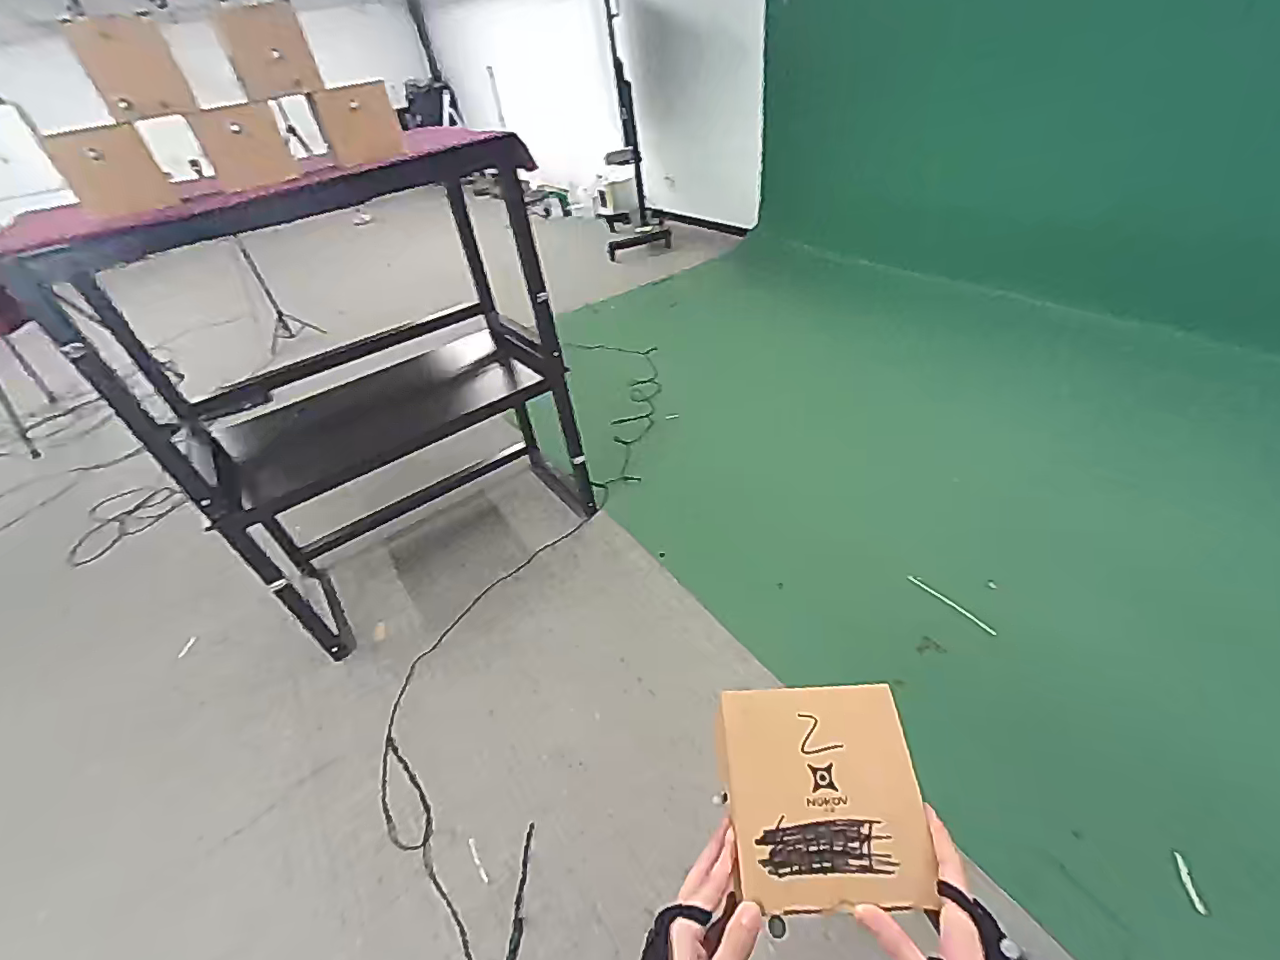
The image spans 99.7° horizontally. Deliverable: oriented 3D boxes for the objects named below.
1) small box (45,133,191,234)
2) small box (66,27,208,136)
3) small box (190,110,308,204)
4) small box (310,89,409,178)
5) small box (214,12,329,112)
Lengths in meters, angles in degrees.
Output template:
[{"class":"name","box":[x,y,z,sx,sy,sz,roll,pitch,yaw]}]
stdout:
[{"class":"small box","box":[-1.184,-0.680,1.239,0.179,0.176,0.168,-31,45,-24]},{"class":"small box","box":[-1.094,-0.873,1.195,0.168,0.176,0.179,-28,42,-22]},{"class":"small box","box":[-0.964,-0.798,1.337,0.179,0.176,0.168,-29,43,-23]},{"class":"small box","box":[-0.744,-0.928,1.448,0.179,0.176,0.168,-31,43,-22]},{"class":"small box","box":[-0.878,-0.995,1.298,0.168,0.176,0.179,-30,43,-23]}]
